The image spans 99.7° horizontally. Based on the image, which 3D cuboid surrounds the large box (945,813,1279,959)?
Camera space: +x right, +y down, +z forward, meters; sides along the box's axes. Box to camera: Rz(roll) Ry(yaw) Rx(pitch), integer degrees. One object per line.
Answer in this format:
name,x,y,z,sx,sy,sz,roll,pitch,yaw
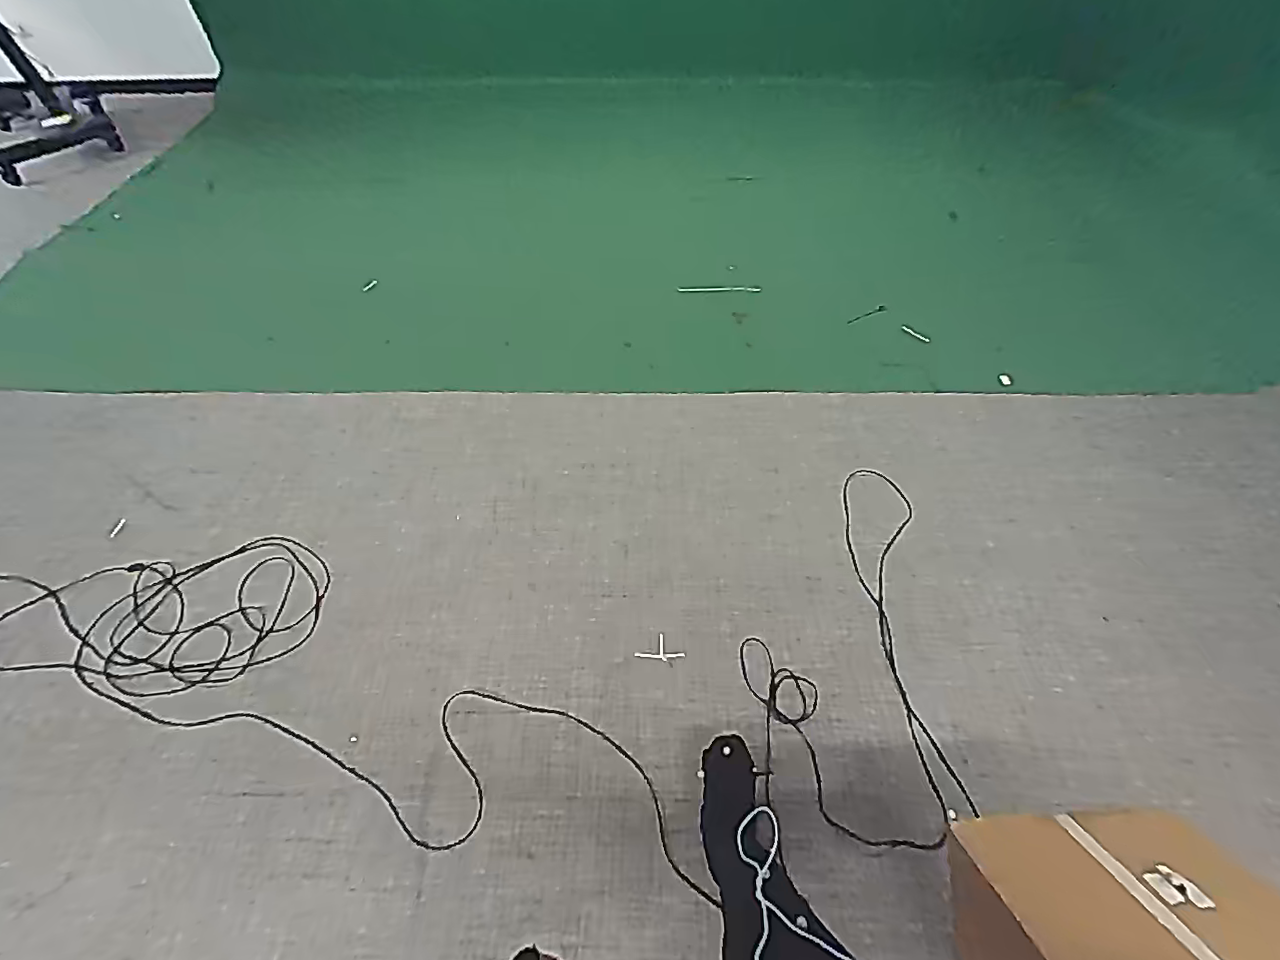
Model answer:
large box,0.613,0.664,0.610,0.320,0.408,0.320,-4,93,3
